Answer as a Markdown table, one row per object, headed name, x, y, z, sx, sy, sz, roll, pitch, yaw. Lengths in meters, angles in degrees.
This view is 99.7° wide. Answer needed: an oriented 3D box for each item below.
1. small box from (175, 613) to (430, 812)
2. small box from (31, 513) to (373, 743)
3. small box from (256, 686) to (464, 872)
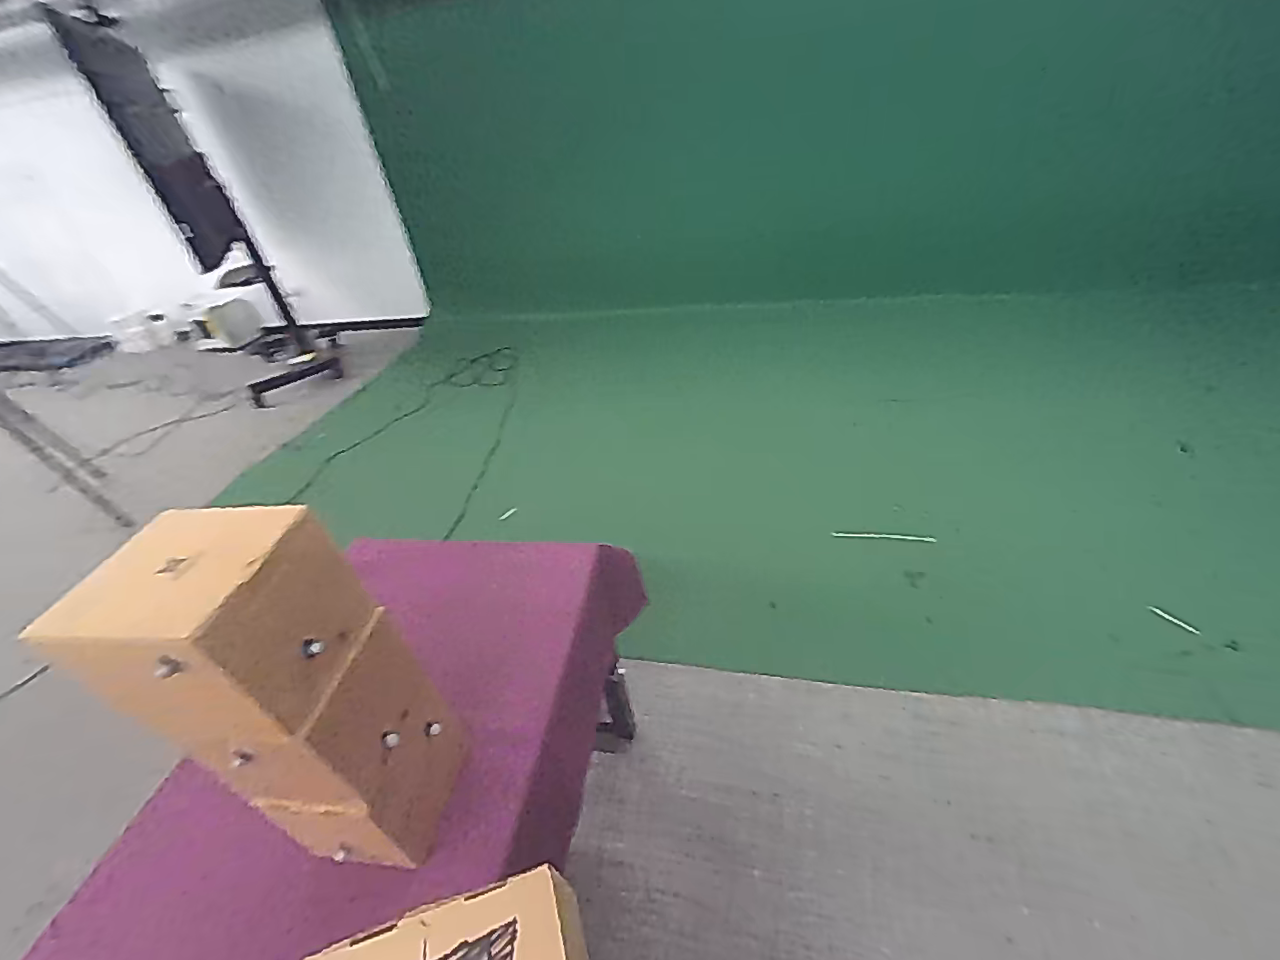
| name | x | y | z | sx | sy | sz | roll | pitch | yaw |
| --- | --- | --- | --- | --- | --- | --- | --- | --- | --- |
| small box | -0.393 | 0.279 | 0.658 | 0.179 | 0.176 | 0.168 | -1 | 38 | 10 |
| small box | -0.423 | 0.153 | 0.560 | 0.179 | 0.176 | 0.168 | -3 | 38 | 9 |
| small box | -0.368 | 0.407 | 0.755 | 0.168 | 0.176 | 0.179 | -2 | 37 | 12 |
